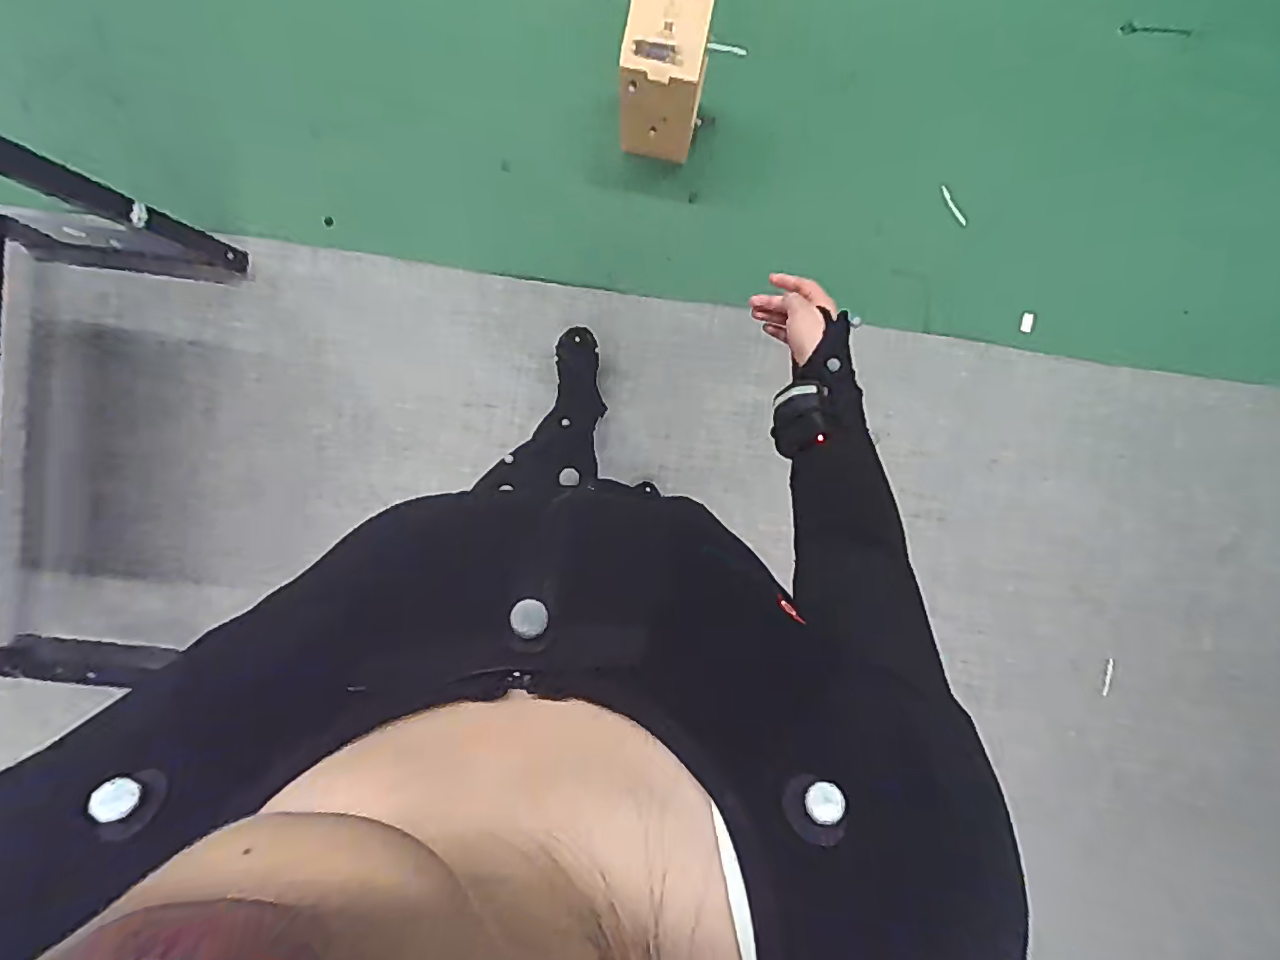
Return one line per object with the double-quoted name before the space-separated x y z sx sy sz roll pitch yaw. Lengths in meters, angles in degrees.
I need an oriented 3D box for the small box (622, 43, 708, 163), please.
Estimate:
"small box" 0.056 -0.912 1.327 0.179 0.176 0.168 11 94 -2
